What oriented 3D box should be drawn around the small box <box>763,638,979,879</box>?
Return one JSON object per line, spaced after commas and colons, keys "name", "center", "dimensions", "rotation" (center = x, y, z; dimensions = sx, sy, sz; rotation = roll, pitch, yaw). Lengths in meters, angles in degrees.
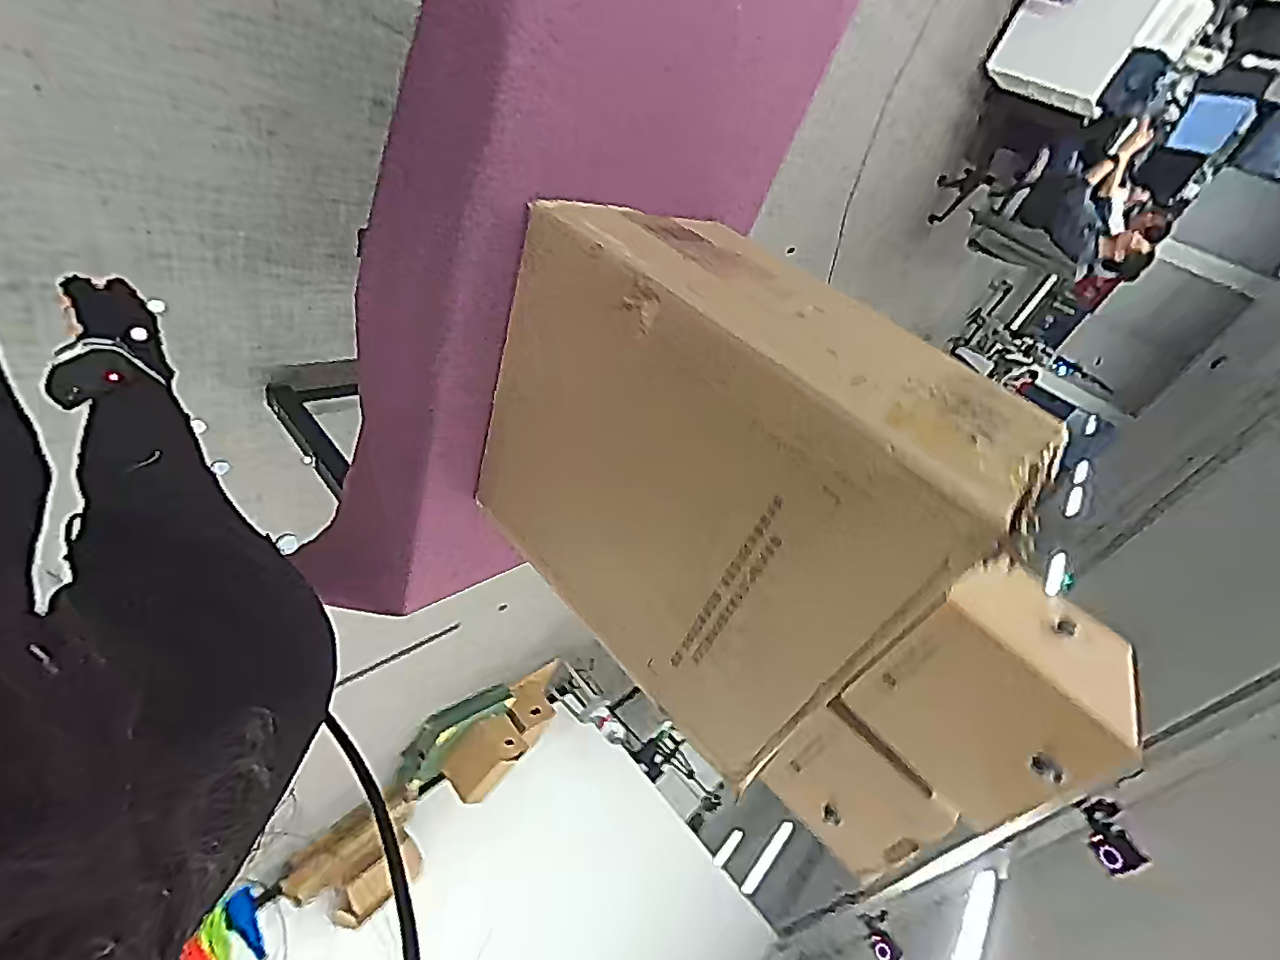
{"name": "small box", "center": [0.287, 0.339, 0.687], "dimensions": [0.179, 0.176, 0.168], "rotation": [-20, 144, -49]}
